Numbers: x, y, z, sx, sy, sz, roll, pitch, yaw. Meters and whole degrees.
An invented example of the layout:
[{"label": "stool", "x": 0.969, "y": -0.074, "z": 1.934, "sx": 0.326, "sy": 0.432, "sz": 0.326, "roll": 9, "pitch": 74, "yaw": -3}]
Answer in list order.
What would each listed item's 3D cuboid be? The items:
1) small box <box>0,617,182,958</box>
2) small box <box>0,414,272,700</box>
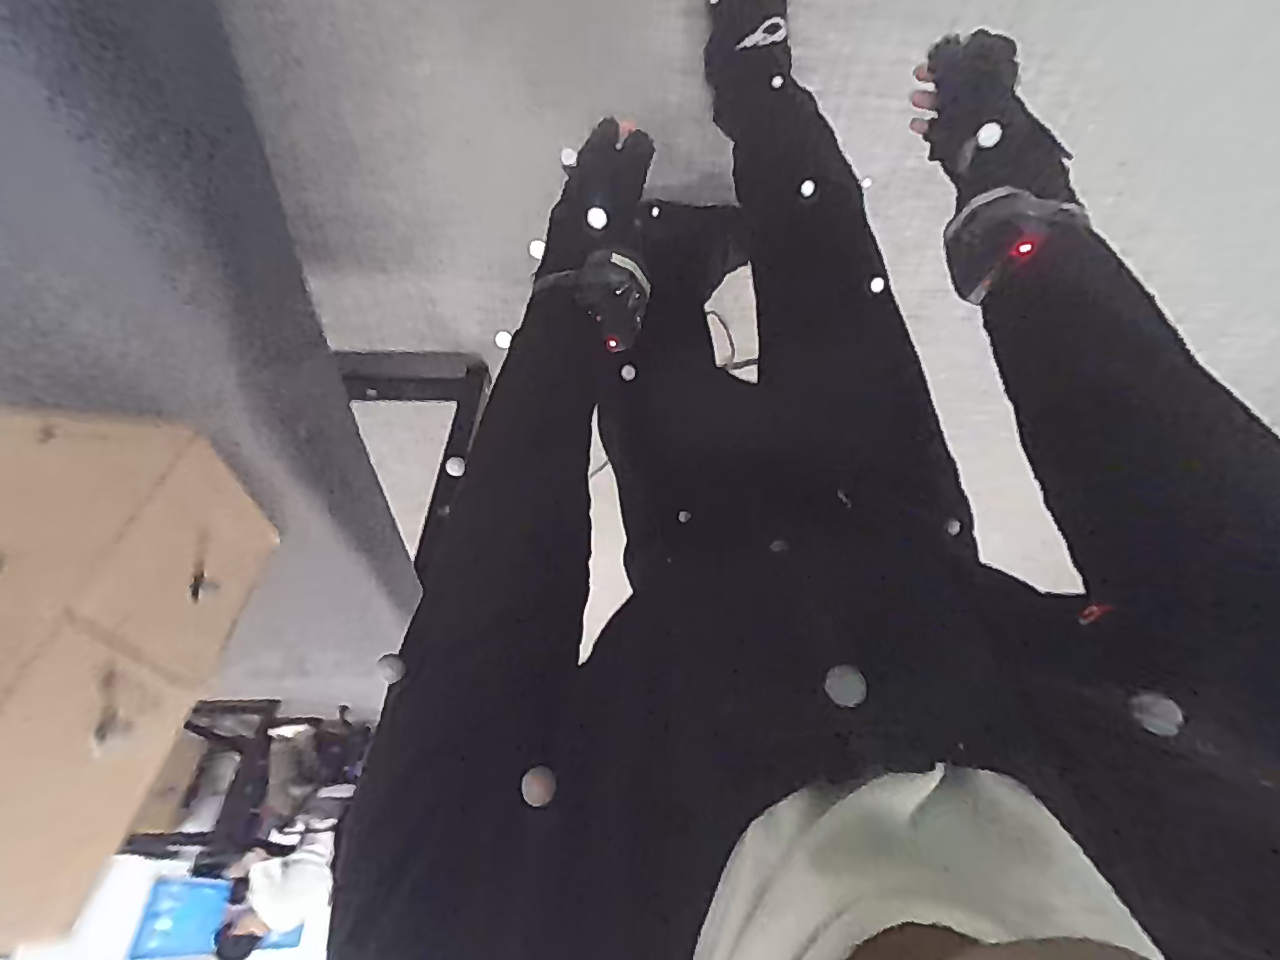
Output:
[{"label": "small box", "x": -0.465, "y": 0.194, "z": 0.348, "sx": 0.179, "sy": 0.176, "sz": 0.168, "roll": 5, "pitch": 140, "yaw": -5}, {"label": "small box", "x": -0.457, "y": 0.069, "z": 0.456, "sx": 0.168, "sy": 0.176, "sz": 0.179, "roll": 4, "pitch": 140, "yaw": -4}]
